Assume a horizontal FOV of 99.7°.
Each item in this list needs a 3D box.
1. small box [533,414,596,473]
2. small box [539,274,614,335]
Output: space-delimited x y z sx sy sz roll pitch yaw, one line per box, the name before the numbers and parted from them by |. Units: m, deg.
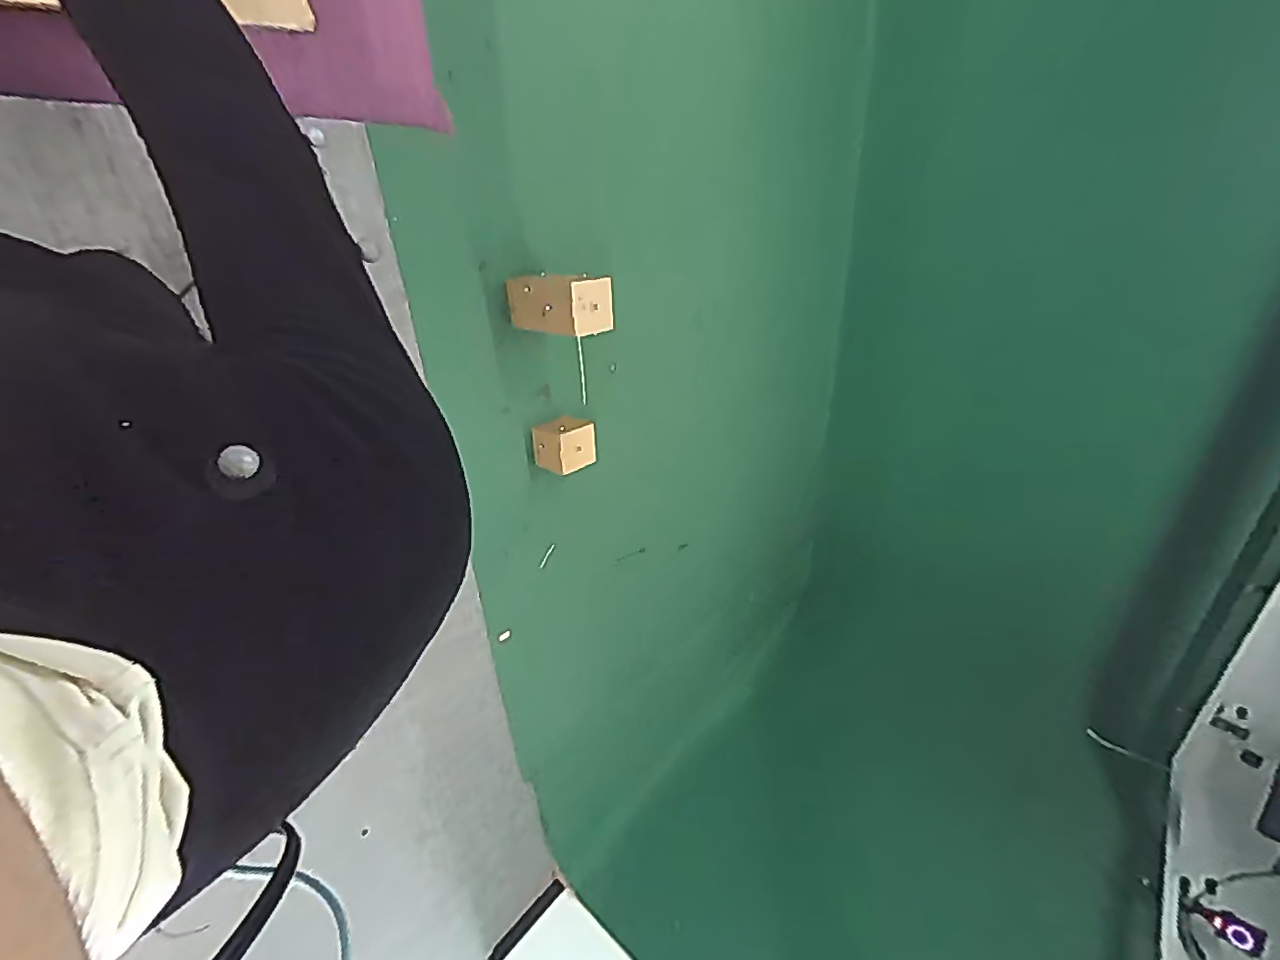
small box | -0.296 -0.150 2.126 0.179 0.176 0.168 -27 126 -41
small box | -0.207 -0.579 1.769 0.179 0.176 0.168 -27 125 -42
